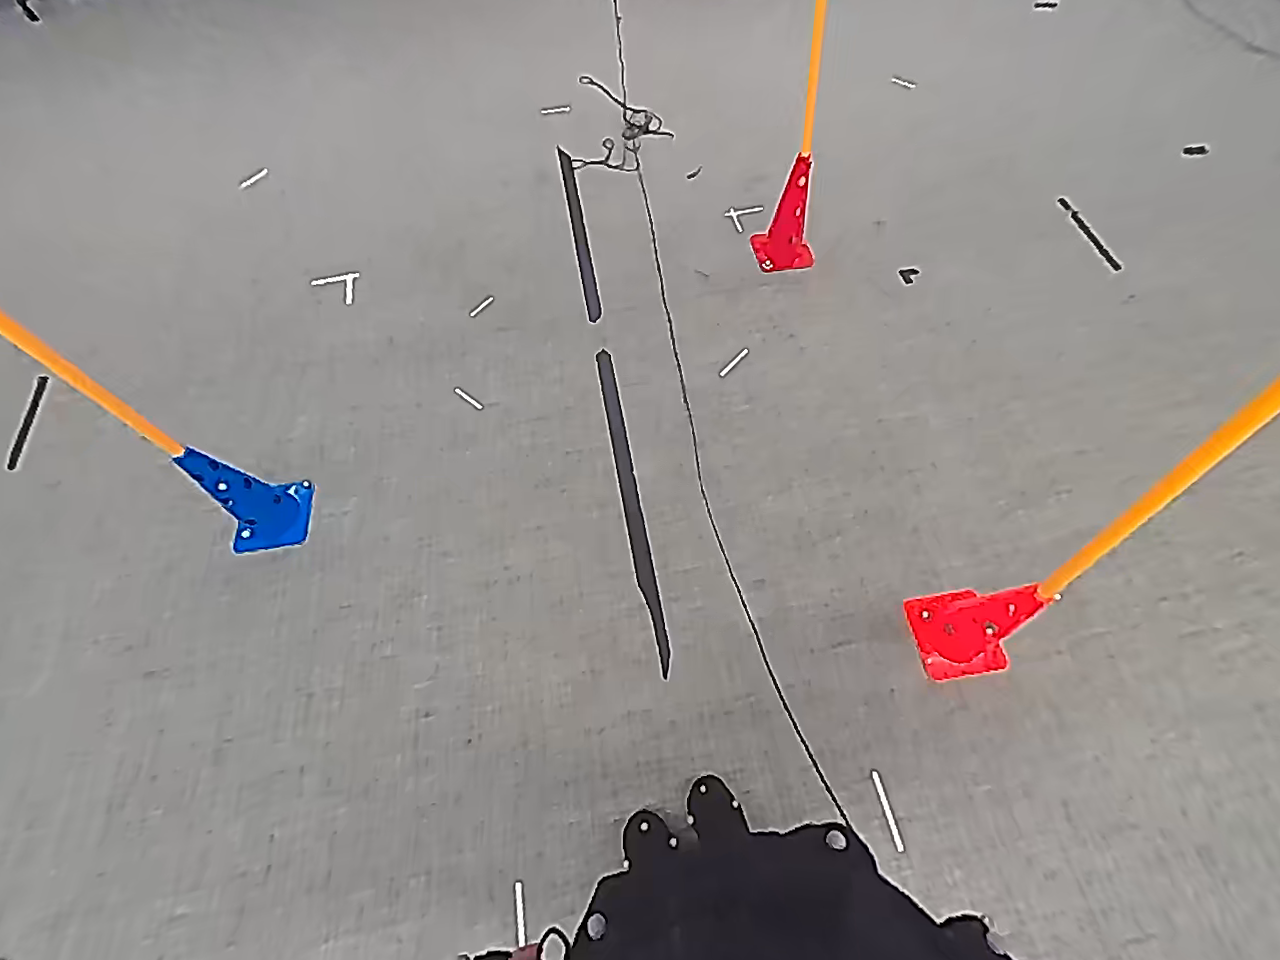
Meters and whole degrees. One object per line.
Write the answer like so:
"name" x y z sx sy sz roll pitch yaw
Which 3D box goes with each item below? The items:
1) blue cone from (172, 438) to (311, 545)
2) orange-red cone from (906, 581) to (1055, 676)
"blue cone" -1.046 0.015 1.396 0.193 0.380 0.192 -7 62 -2
"orange-red cone" 0.766 0.289 1.168 0.198 0.360 0.199 -8 63 -2
